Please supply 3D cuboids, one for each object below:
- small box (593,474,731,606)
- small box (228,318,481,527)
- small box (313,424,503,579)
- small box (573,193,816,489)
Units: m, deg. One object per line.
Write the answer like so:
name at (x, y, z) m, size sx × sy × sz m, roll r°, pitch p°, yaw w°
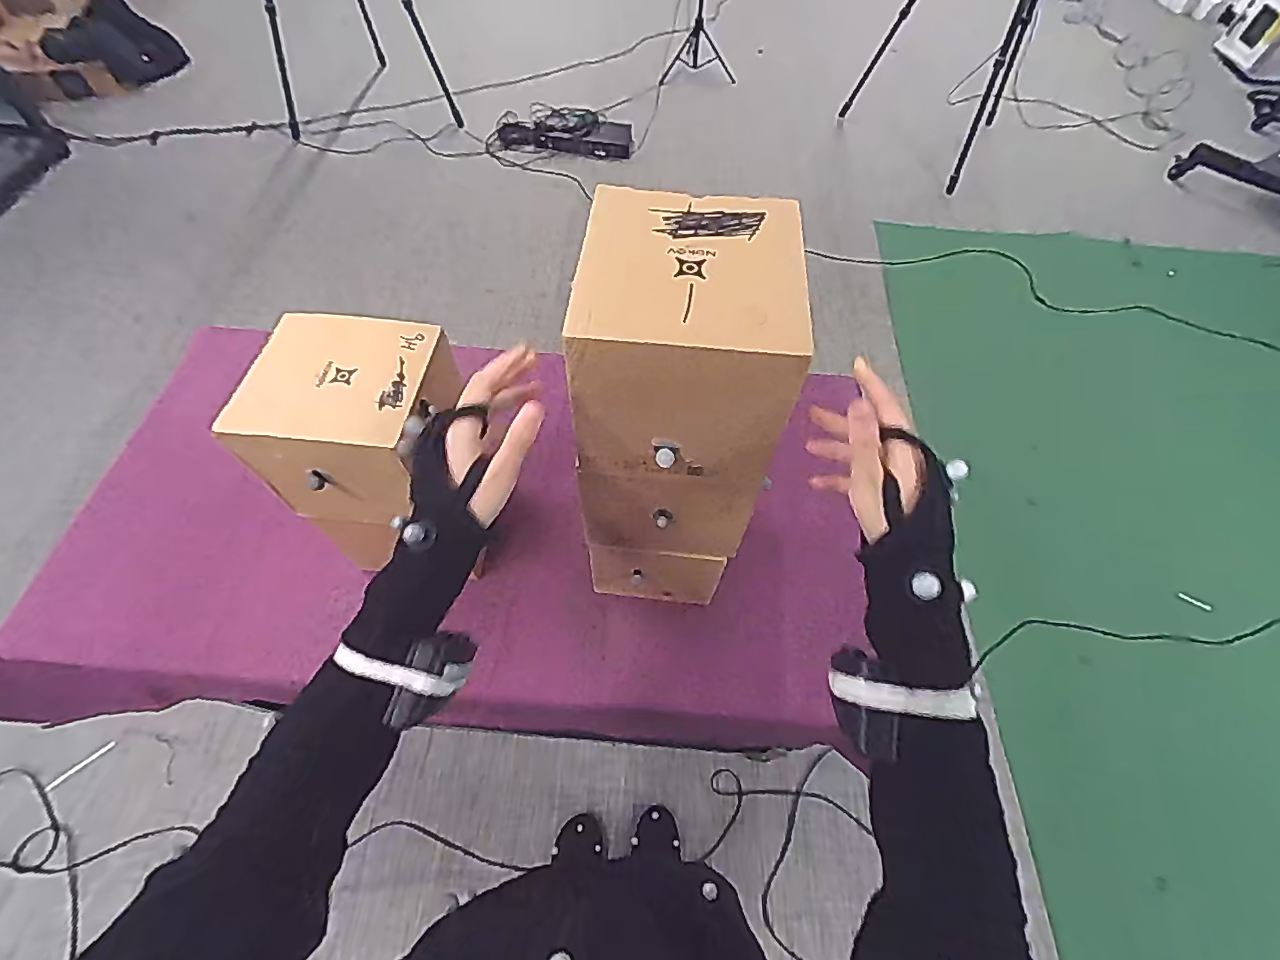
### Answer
small box at (0.033, 0.060, 0.747) m, size 0.168 × 0.176 × 0.179 m, roll 6°, pitch 57°, yaw 2°
small box at (-0.299, -0.059, 0.615) m, size 0.179 × 0.176 × 0.168 m, roll 6°, pitch 57°, yaw 0°
small box at (-0.301, 0.028, 0.753) m, size 0.179 × 0.176 × 0.168 m, roll 5°, pitch 57°, yaw 1°
small box at (0.041, -0.114, 0.468) m, size 0.168 × 0.176 × 0.179 m, roll 5°, pitch 58°, yaw 2°
